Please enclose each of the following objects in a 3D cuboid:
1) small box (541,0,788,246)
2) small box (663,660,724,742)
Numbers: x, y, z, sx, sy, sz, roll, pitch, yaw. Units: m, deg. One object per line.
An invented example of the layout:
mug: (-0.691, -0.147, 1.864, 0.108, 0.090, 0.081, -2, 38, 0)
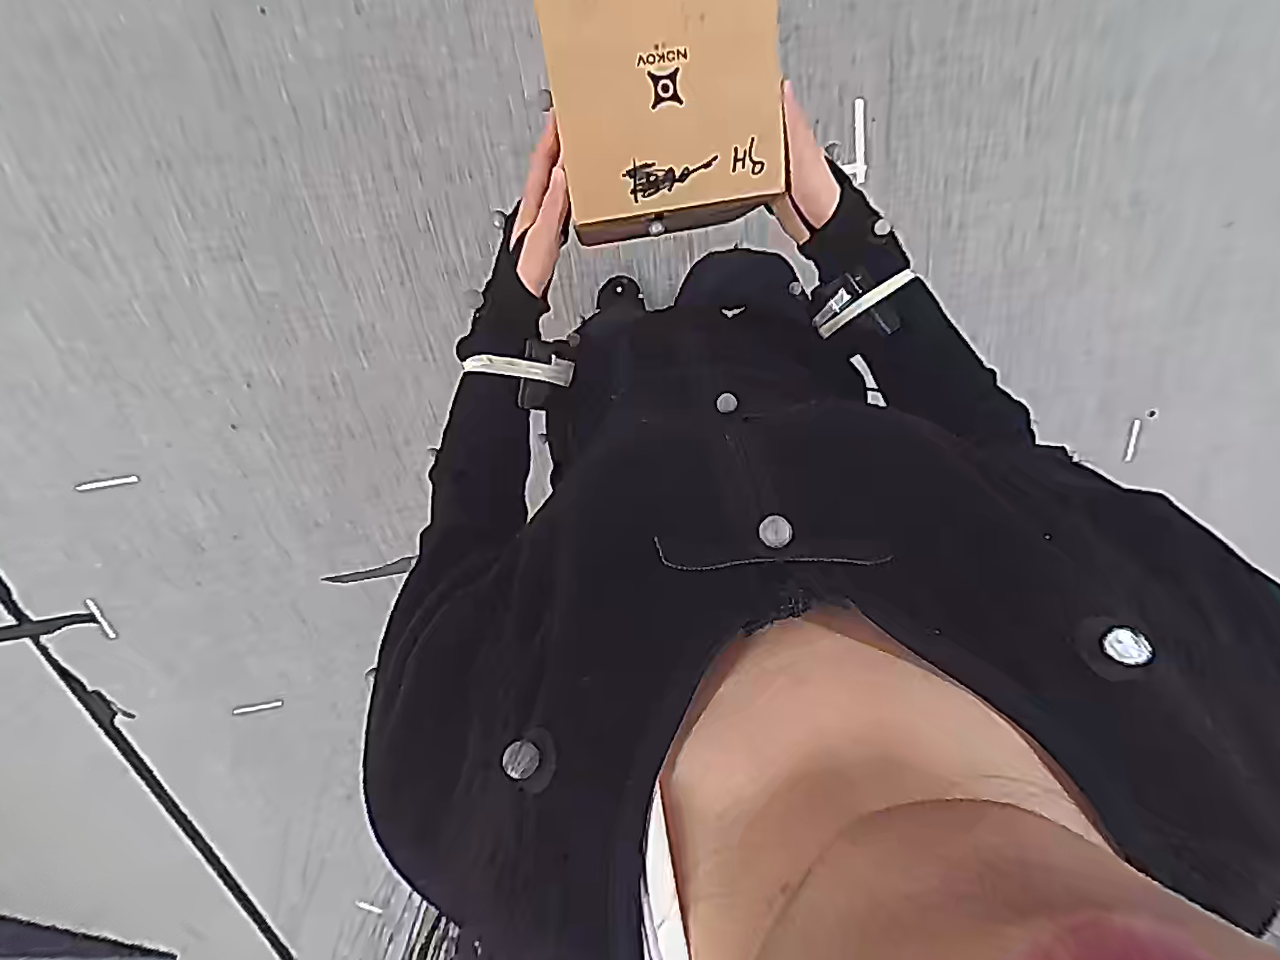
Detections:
small box: (0.013, -0.310, 0.457, 0.168, 0.176, 0.179, -10, 108, -1)
small box: (0.176, 0.734, 1.807, 0.168, 0.176, 0.179, -11, 113, -2)
